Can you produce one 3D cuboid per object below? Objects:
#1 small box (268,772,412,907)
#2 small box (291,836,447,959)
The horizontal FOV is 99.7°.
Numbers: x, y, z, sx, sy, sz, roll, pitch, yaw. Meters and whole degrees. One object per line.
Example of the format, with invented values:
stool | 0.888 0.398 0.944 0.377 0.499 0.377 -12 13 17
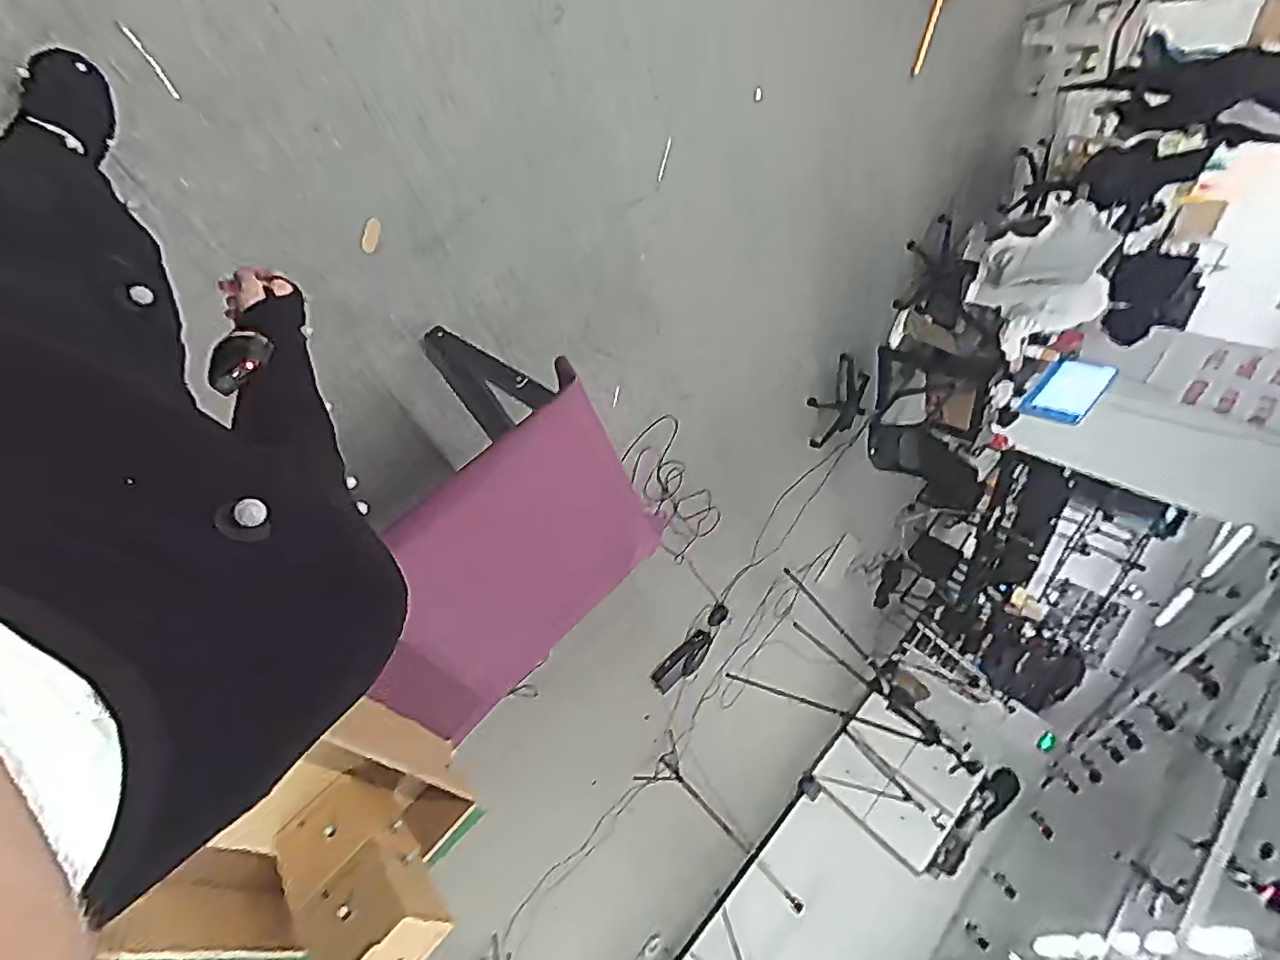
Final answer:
small box | -0.613 0.735 1.104 0.168 0.176 0.179 -43 139 -20
small box | -0.503 0.805 1.004 0.168 0.176 0.179 -42 138 -20
